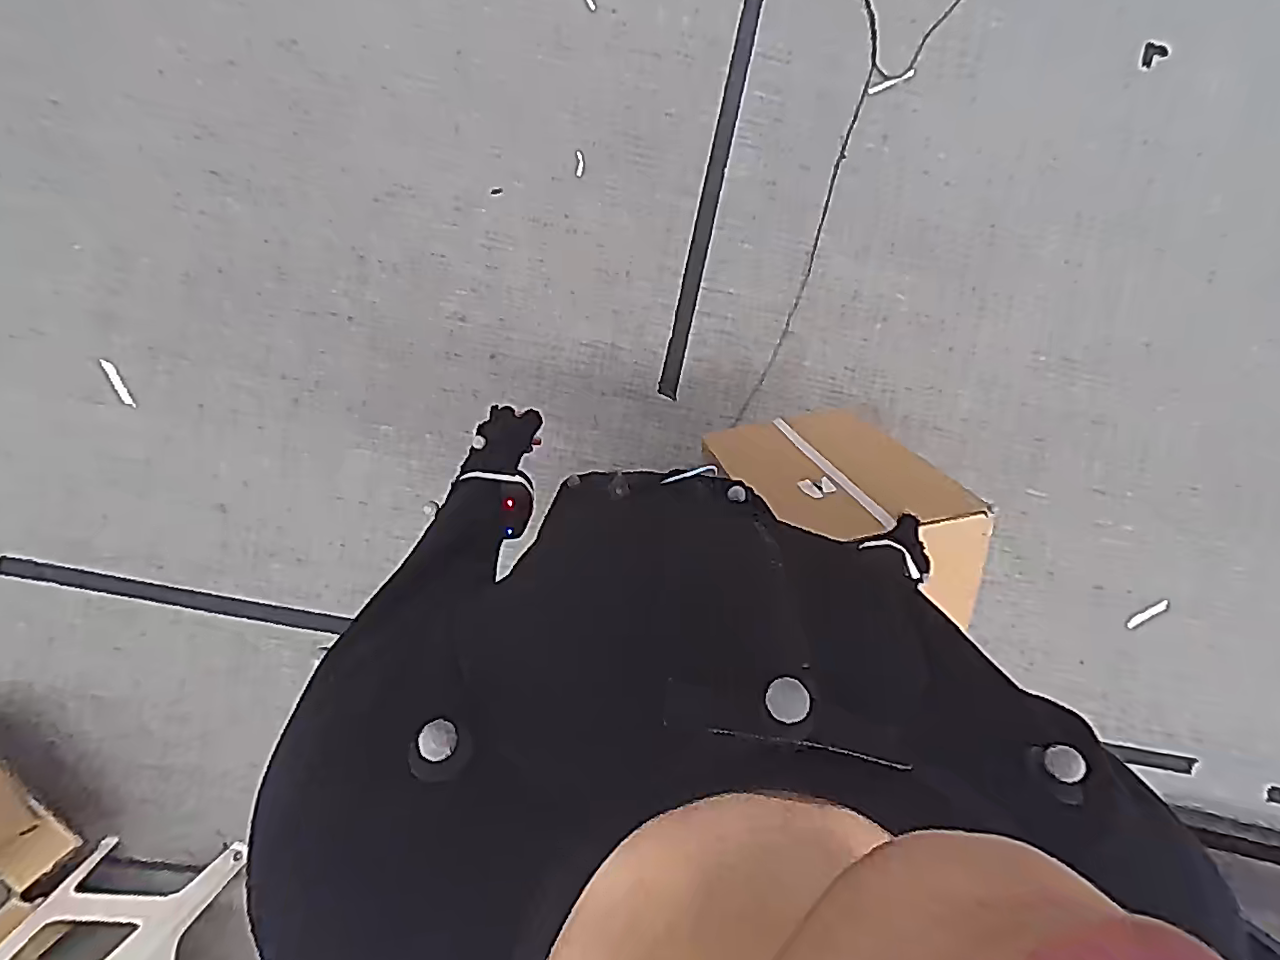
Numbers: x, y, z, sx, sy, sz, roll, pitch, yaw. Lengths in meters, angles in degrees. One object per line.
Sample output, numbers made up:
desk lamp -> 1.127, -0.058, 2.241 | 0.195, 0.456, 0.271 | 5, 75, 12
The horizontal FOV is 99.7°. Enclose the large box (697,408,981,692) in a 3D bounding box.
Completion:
large box -> 0.315, 0.103, 1.000 | 0.320, 0.408, 0.320 | -12, 122, -7
